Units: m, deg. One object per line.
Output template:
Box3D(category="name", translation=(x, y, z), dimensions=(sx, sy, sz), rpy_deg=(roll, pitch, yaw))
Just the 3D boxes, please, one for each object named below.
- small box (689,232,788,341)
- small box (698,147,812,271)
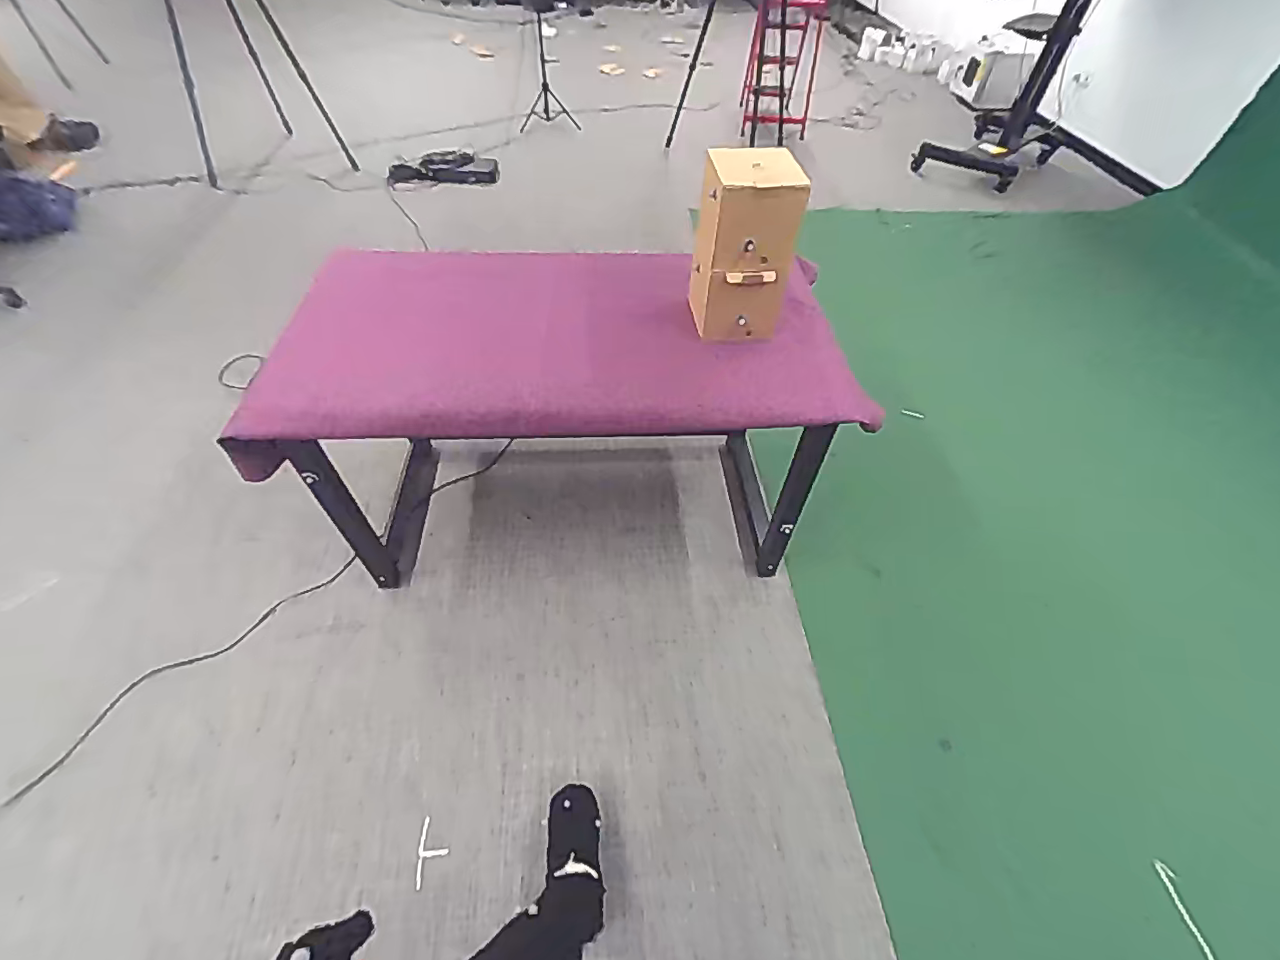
Box3D(category="small box", translation=(0.208, -0.430, 1.200), dimensions=(0.168, 0.176, 0.179), rpy_deg=(-4, 51, -5))
Box3D(category="small box", translation=(0.217, -0.537, 1.076), dimensions=(0.168, 0.176, 0.179), rpy_deg=(-3, 52, -5))
